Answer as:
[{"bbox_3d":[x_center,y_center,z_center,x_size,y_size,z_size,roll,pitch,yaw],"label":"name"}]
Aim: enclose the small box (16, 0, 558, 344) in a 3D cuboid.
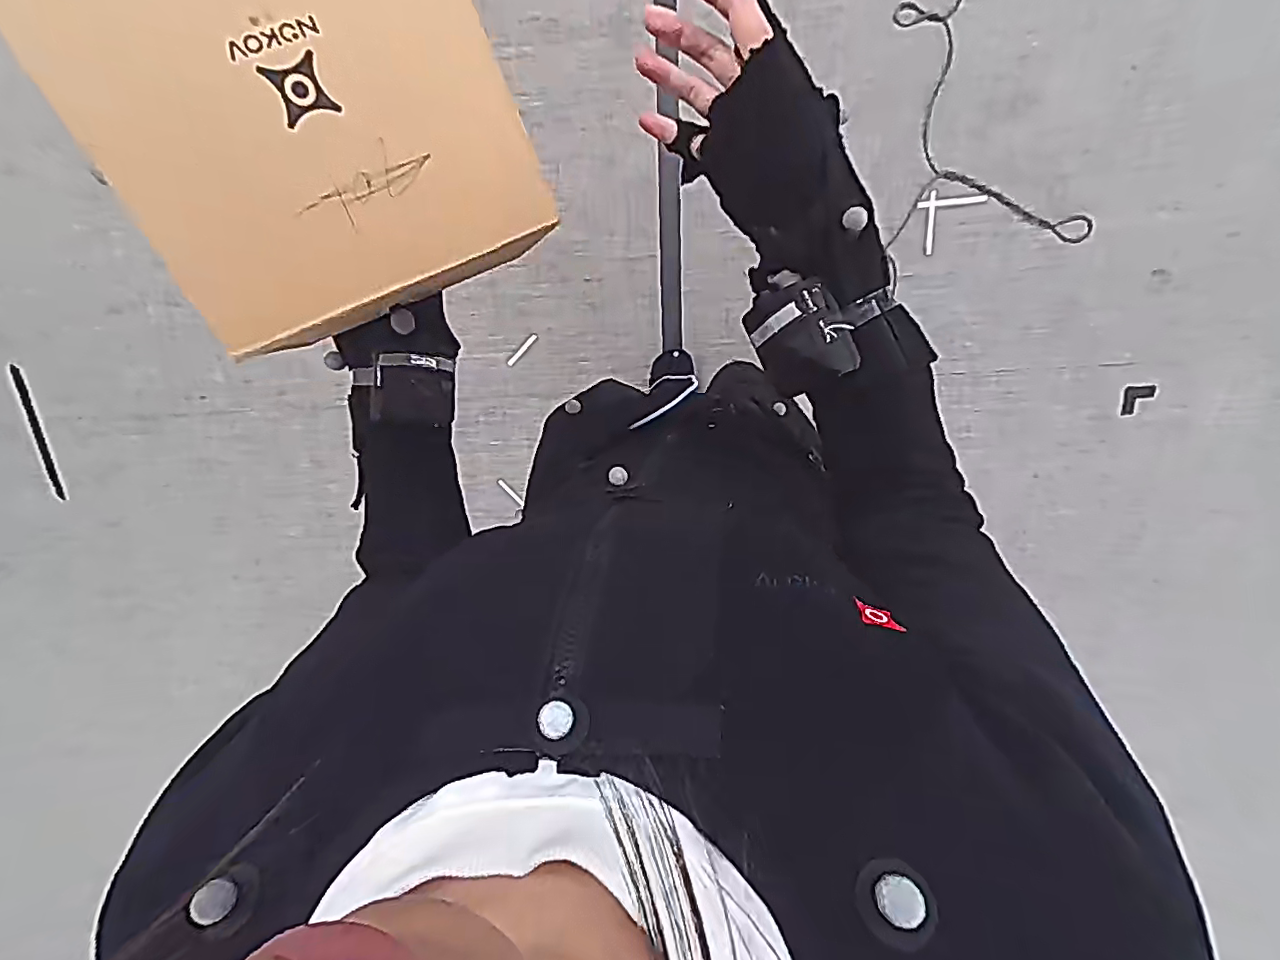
[{"bbox_3d":[-0.169,-0.191,0.309,0.168,0.176,0.179,-27,112,-10],"label":"small box"}]
